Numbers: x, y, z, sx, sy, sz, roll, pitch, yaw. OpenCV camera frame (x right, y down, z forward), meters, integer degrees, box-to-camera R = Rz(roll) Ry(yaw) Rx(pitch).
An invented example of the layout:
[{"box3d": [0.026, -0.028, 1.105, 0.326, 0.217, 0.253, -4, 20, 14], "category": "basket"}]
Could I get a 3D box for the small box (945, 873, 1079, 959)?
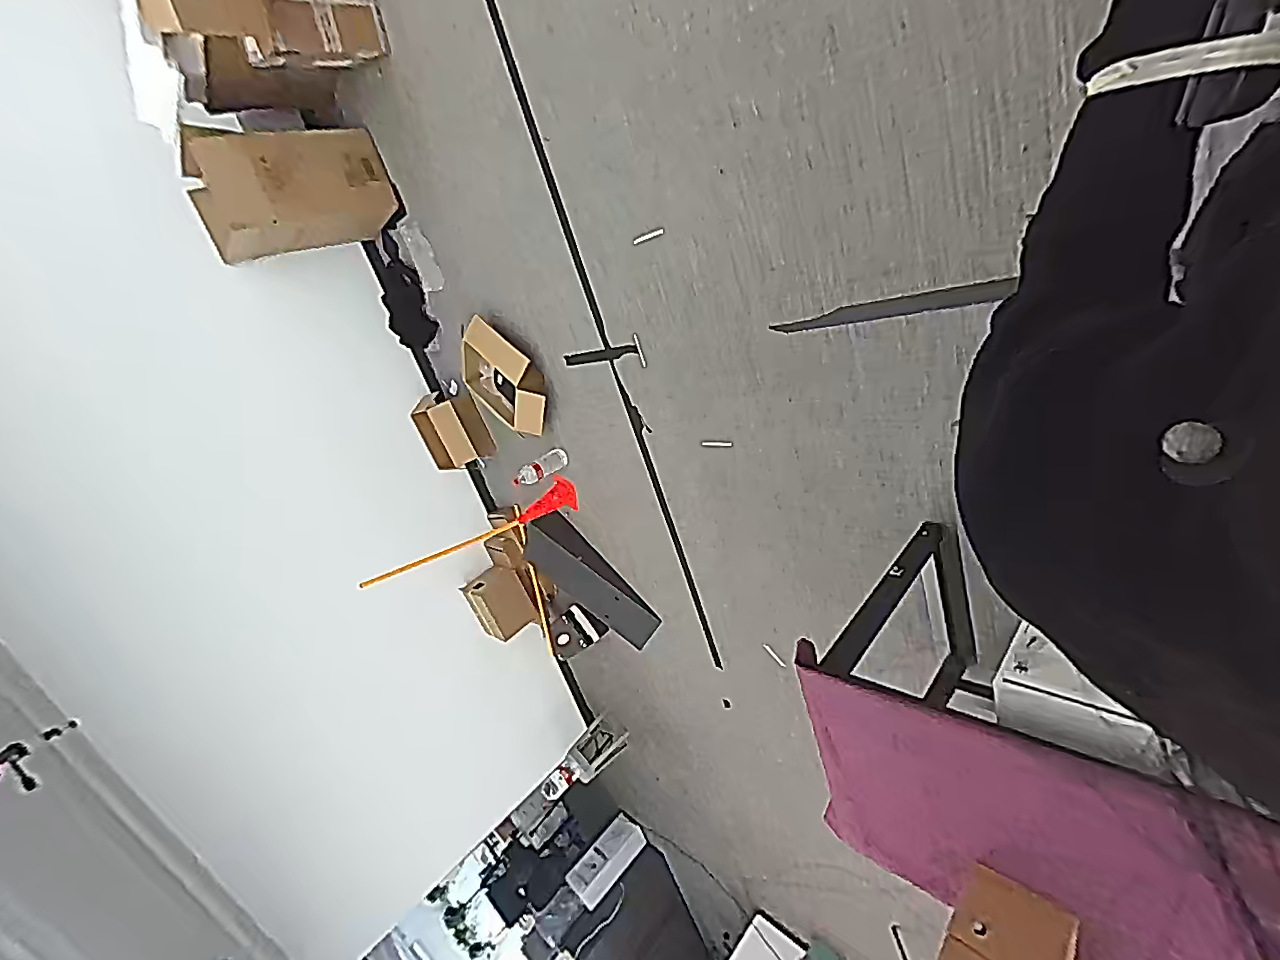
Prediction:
[{"box3d": [0.715, 0.913, 1.045, 0.179, 0.176, 0.168, 9, 123, 46], "category": "small box"}]
